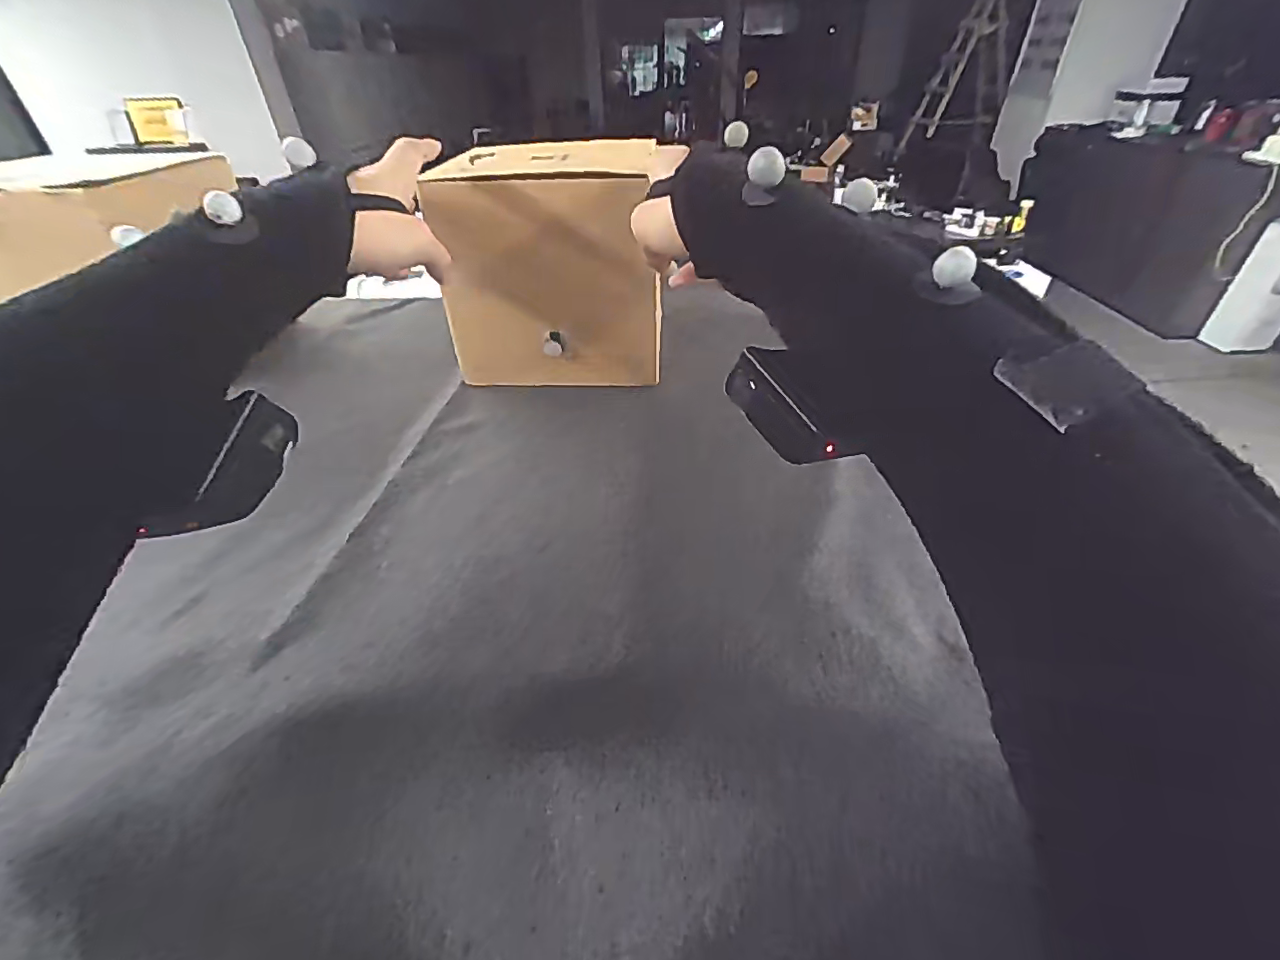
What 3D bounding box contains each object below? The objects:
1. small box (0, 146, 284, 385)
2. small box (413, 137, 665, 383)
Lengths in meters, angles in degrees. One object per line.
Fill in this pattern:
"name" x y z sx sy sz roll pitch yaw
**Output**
"small box" -0.476 -0.197 0.501 0.168 0.176 0.179 -1 38 0
"small box" -0.069 -0.197 0.486 0.179 0.176 0.168 1 38 3
